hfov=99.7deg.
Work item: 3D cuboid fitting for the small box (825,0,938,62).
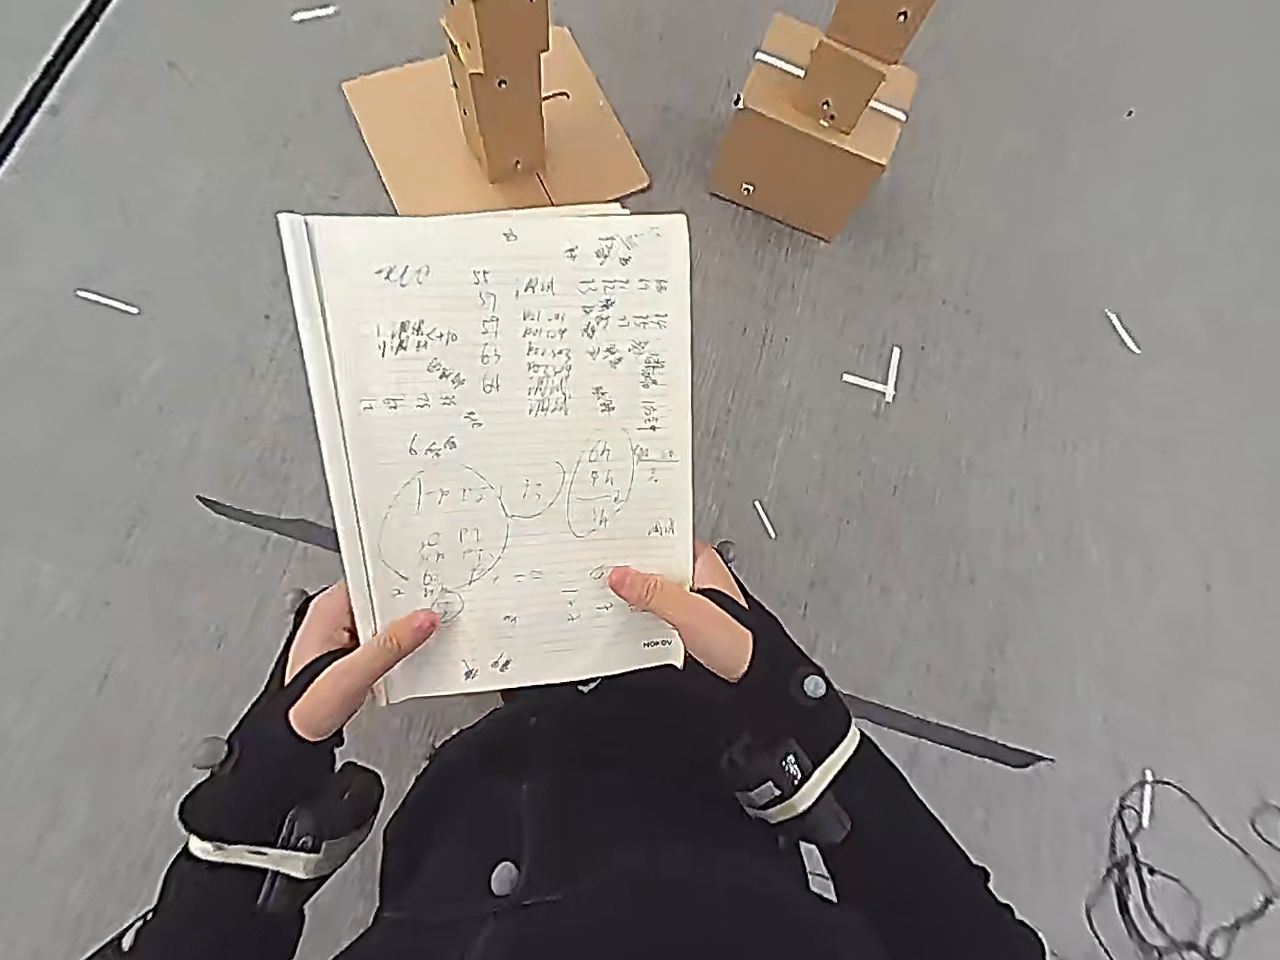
[{"bbox_3d":[0.511,-1.010,1.104,0.179,0.176,0.168,20,76,-1],"label":"small box"}]

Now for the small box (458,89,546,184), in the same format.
[{"bbox_3d":[-0.368,-0.948,1.467,0.179,0.176,0.168,-27,83,-13],"label":"small box"}]

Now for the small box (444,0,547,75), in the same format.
[{"bbox_3d":[-0.309,-1.018,1.152,0.179,0.176,0.168,-33,85,-14],"label":"small box"}]

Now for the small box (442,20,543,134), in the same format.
[{"bbox_3d":[-0.347,-0.981,1.306,0.179,0.176,0.168,-26,83,-13],"label":"small box"}]
